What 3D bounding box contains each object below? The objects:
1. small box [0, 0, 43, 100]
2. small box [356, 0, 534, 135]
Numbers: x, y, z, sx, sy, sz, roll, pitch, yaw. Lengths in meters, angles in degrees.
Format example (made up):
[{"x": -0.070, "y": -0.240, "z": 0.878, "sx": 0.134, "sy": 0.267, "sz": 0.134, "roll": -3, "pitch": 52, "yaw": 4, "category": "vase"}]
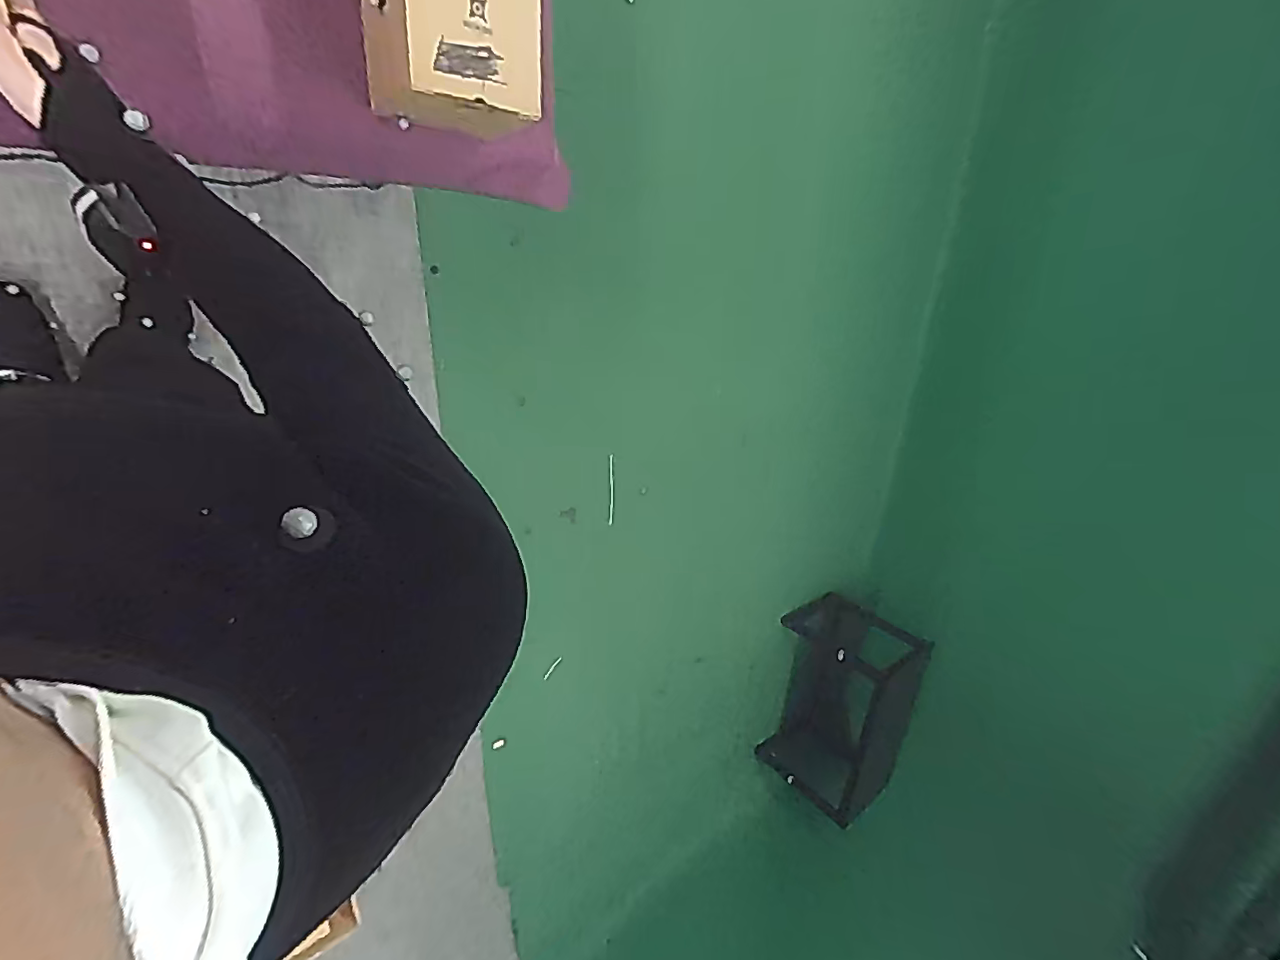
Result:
[{"x": -0.610, "y": -0.423, "z": 0.411, "sx": 0.168, "sy": 0.176, "sz": 0.179, "roll": -16, "pitch": 117, "yaw": -36, "category": "small box"}, {"x": -0.247, "y": -0.557, "z": 0.681, "sx": 0.168, "sy": 0.176, "sz": 0.179, "roll": -13, "pitch": 116, "yaw": -38, "category": "small box"}]
